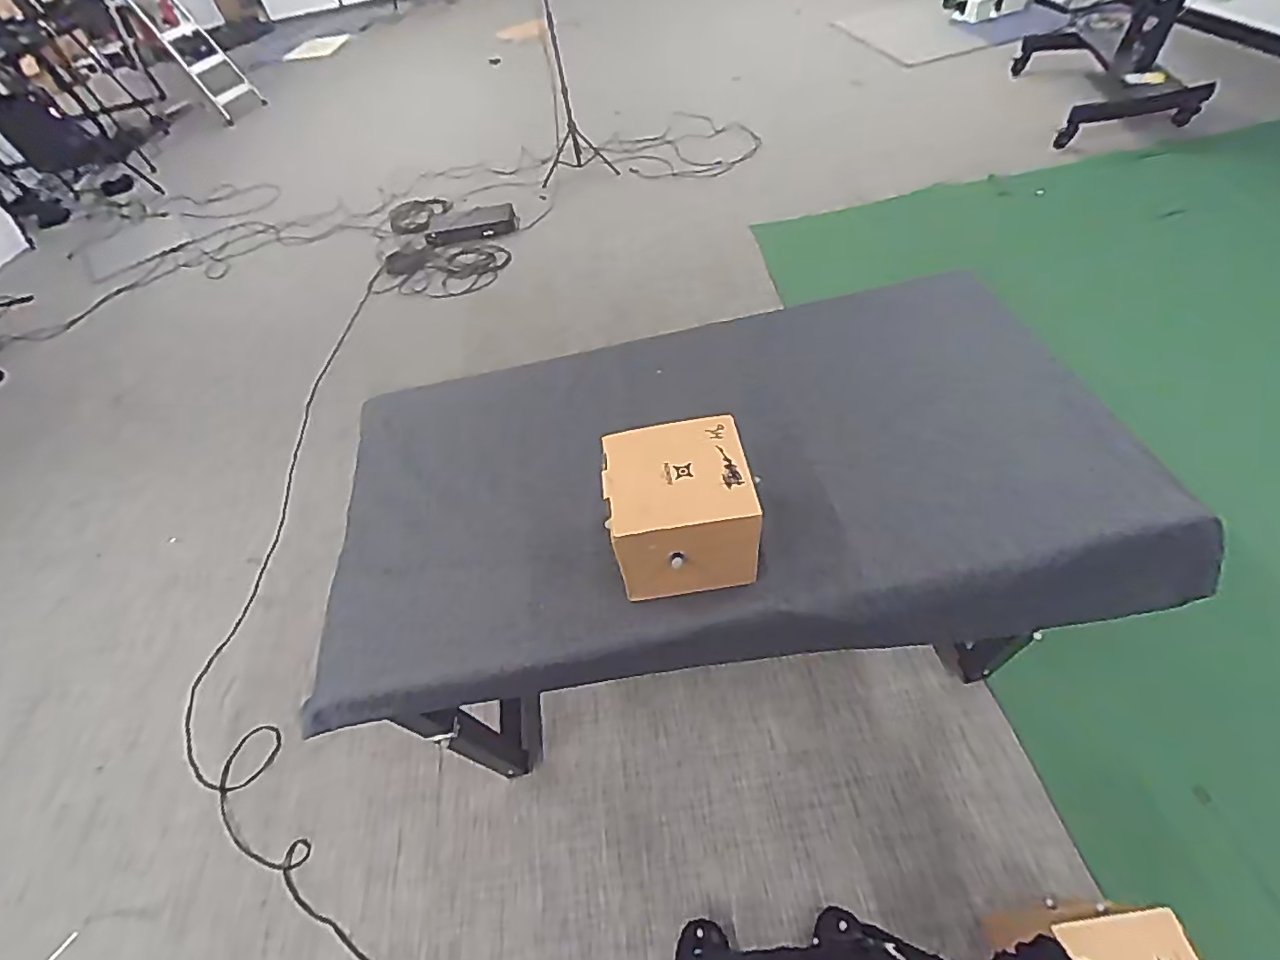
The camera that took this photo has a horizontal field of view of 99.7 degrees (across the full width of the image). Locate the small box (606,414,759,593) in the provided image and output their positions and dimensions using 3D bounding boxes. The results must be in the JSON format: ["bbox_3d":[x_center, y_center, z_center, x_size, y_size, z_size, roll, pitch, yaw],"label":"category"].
[{"bbox_3d":[0.057,0.039,0.729,0.179,0.176,0.168,-9,51,3],"label":"small box"}]

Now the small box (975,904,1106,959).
[{"bbox_3d":[0.726,0.849,0.934,0.179,0.176,0.168,-12,51,1],"label":"small box"}]

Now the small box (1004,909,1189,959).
[{"bbox_3d":[0.694,0.753,0.804,0.179,0.176,0.168,-10,51,2],"label":"small box"}]
